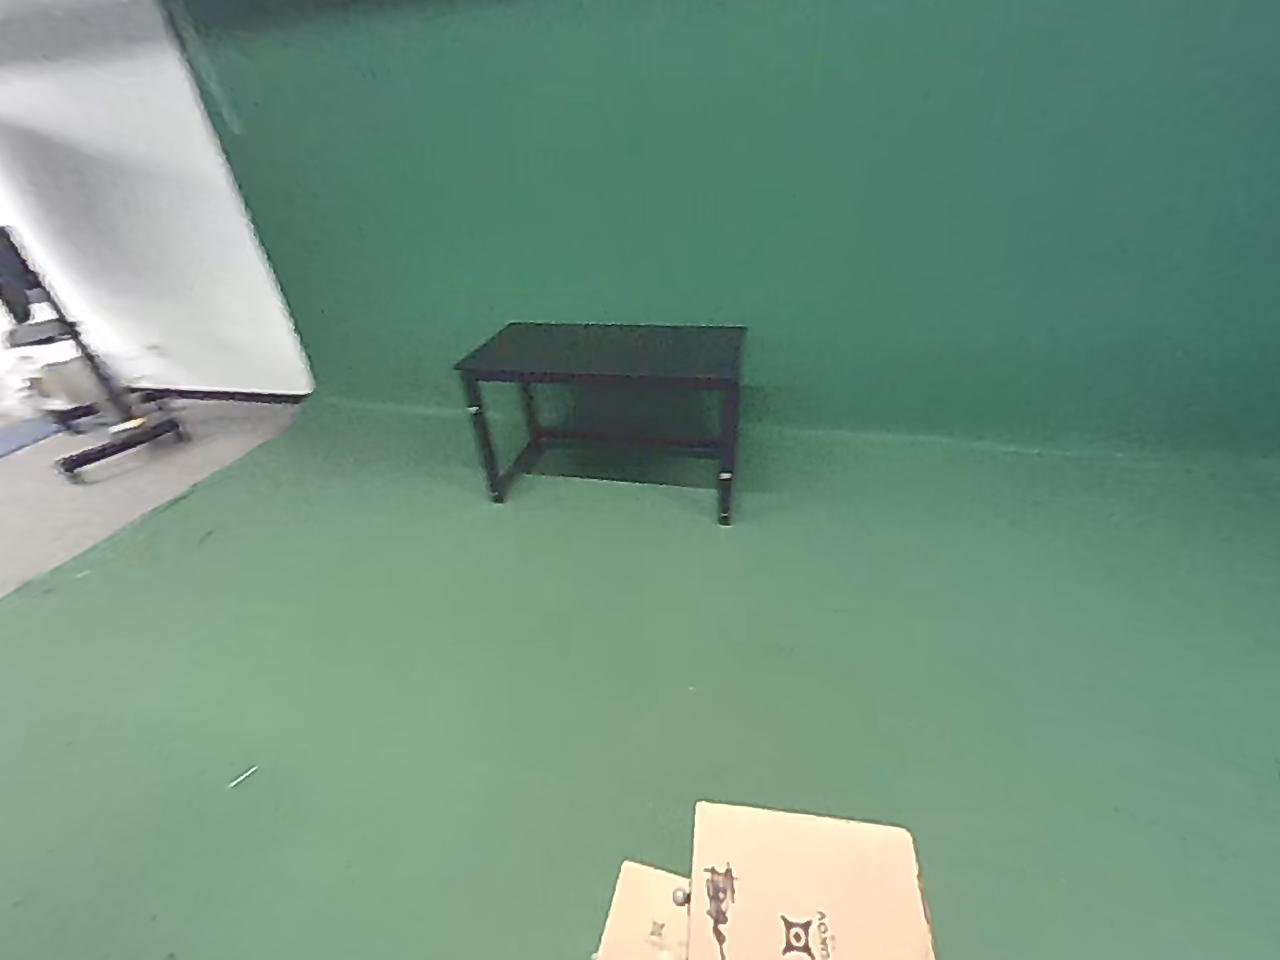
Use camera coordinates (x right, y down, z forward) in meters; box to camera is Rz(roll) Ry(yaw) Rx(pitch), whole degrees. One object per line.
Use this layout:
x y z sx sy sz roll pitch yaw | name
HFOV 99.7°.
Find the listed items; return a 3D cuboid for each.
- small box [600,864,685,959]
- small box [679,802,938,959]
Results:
0.034 0.791 0.895 0.168 0.176 0.179 7 34 15 | small box
0.121 0.387 0.431 0.179 0.176 0.168 4 41 8 | small box
